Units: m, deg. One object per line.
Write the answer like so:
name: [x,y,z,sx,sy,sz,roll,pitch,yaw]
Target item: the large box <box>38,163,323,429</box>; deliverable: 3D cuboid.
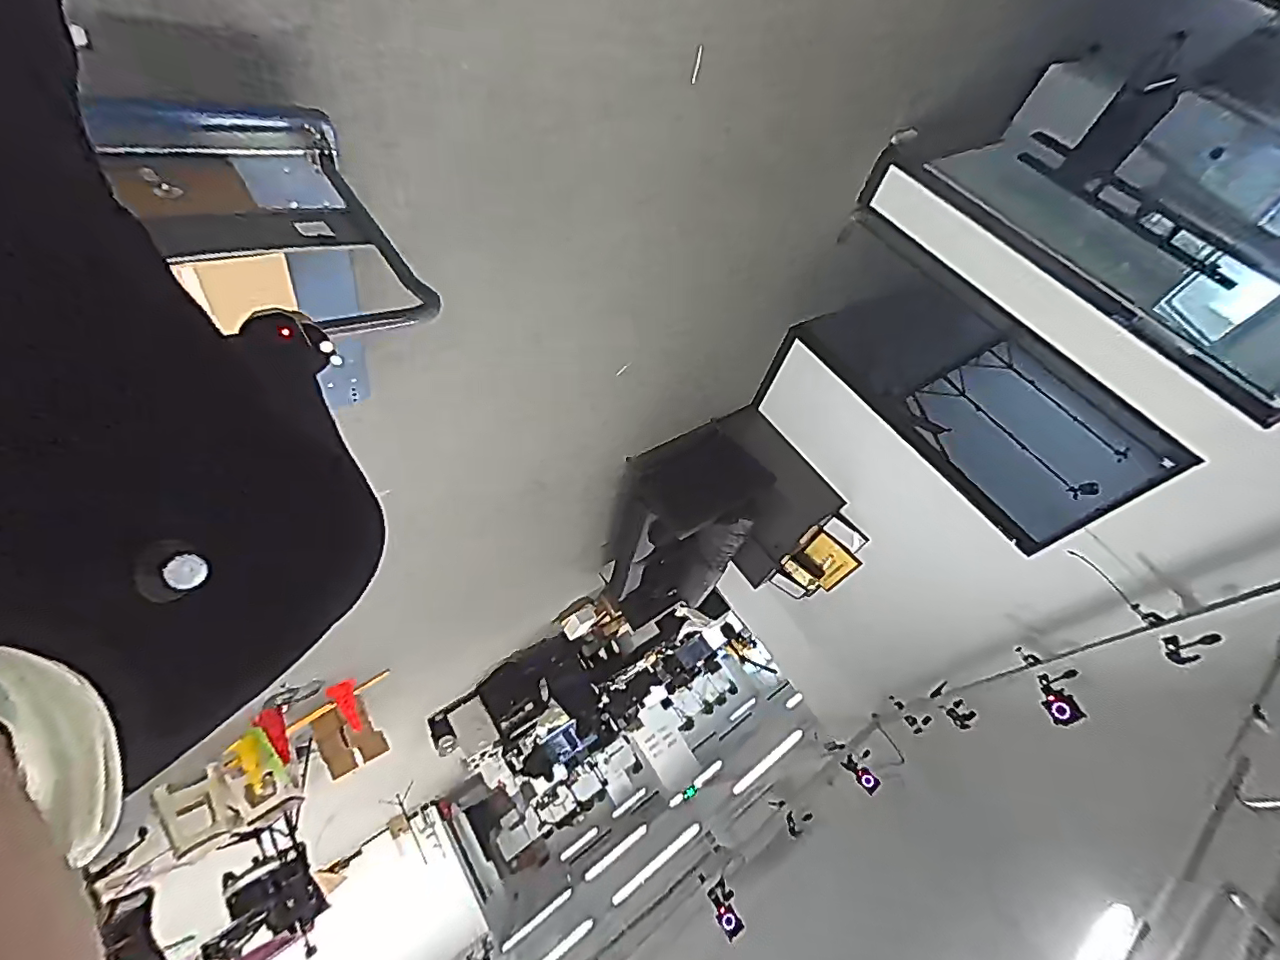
large box: [-0.931,-0.385,1.146,0.320,0.320,0.408,-24,155,-32]
